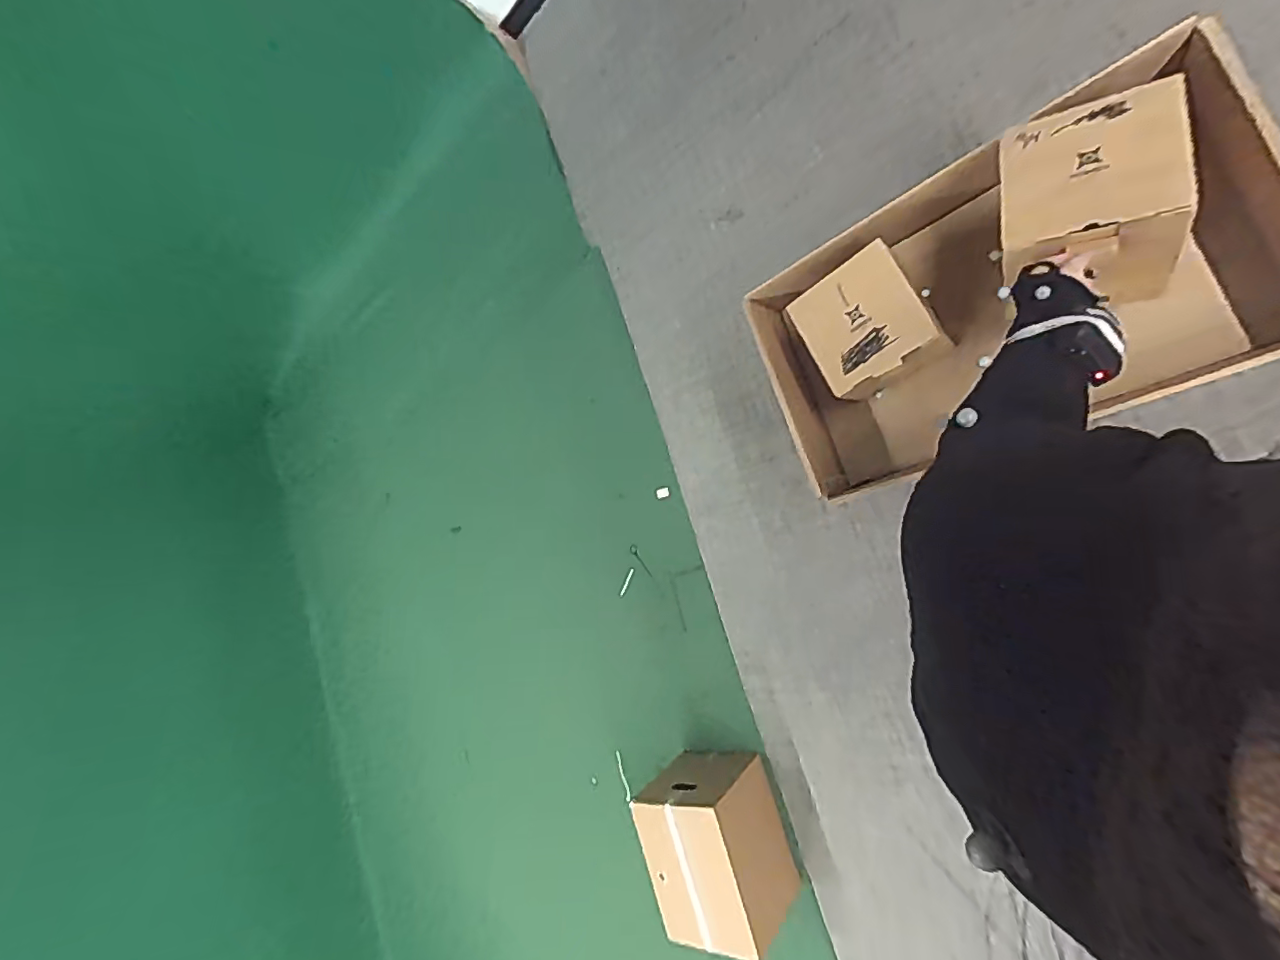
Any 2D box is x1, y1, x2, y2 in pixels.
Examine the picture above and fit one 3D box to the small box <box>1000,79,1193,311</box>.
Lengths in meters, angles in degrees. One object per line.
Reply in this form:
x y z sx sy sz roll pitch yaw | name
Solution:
0.550 -0.328 0.670 0.168 0.176 0.179 0 75 35 | small box
